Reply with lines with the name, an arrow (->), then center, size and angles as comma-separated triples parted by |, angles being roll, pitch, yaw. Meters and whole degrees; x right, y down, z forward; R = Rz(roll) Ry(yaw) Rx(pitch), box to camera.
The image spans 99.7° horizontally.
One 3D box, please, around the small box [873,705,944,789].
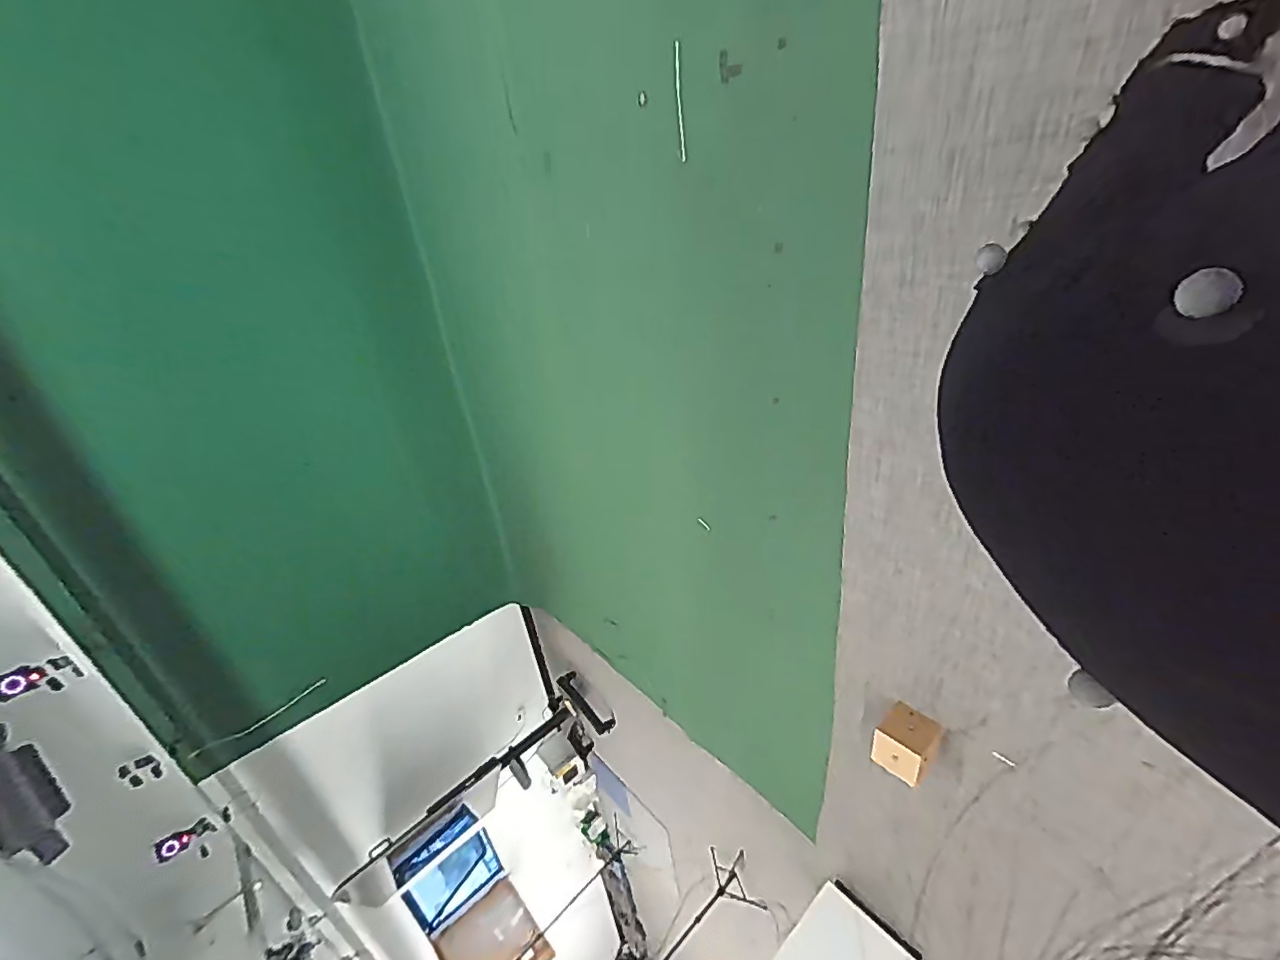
small box -> 0.972, 0.959, 1.955 | 0.168, 0.176, 0.179 | 25, 132, 45
